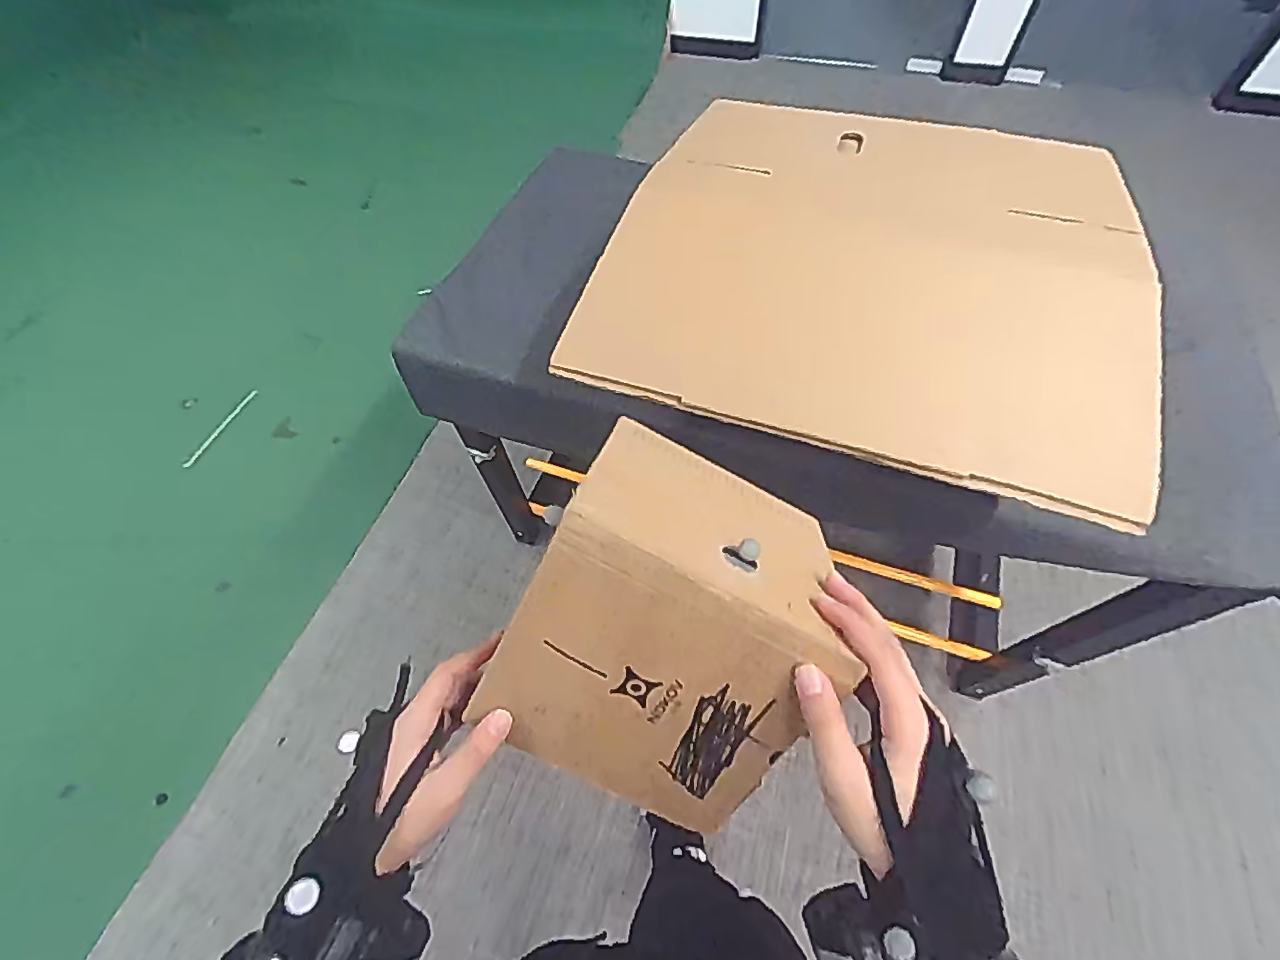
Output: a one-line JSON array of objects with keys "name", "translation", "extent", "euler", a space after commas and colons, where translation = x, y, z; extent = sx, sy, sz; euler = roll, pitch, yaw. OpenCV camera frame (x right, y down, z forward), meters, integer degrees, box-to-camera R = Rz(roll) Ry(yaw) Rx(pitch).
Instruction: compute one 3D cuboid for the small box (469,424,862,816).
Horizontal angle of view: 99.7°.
[{"name": "small box", "translation": [0.017, 0.082, 0.380], "extent": [0.179, 0.168, 0.176], "euler": [28, 24, -4]}]
